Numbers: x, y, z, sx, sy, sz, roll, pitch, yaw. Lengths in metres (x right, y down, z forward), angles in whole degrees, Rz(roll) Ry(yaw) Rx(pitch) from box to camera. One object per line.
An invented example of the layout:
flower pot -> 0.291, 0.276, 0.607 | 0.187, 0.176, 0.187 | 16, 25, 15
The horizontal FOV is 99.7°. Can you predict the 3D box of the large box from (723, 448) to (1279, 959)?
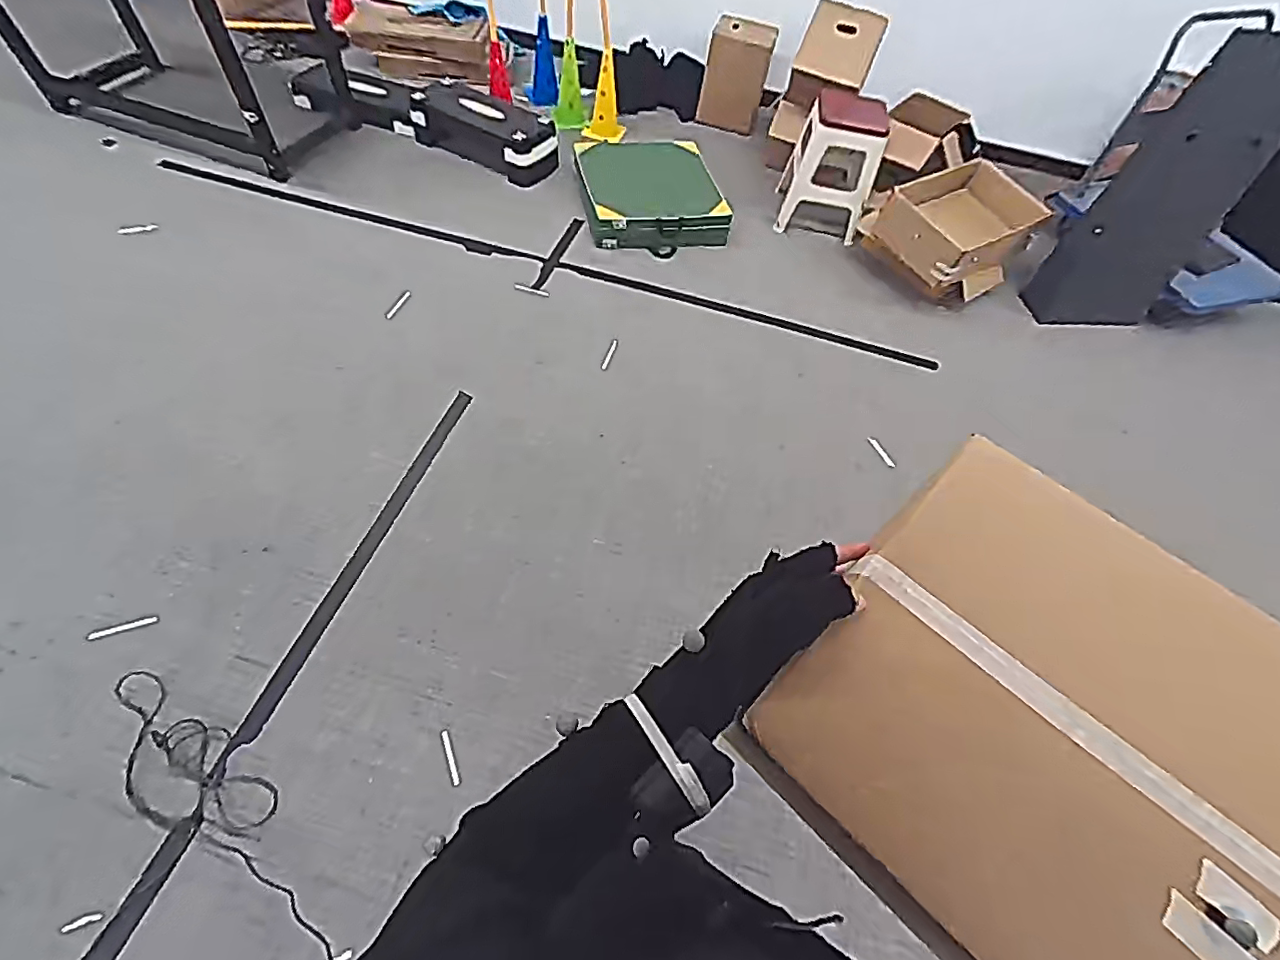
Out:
large box -> 0.332, 0.251, 0.498 | 0.408, 0.320, 0.320 | 41, 76, 20
